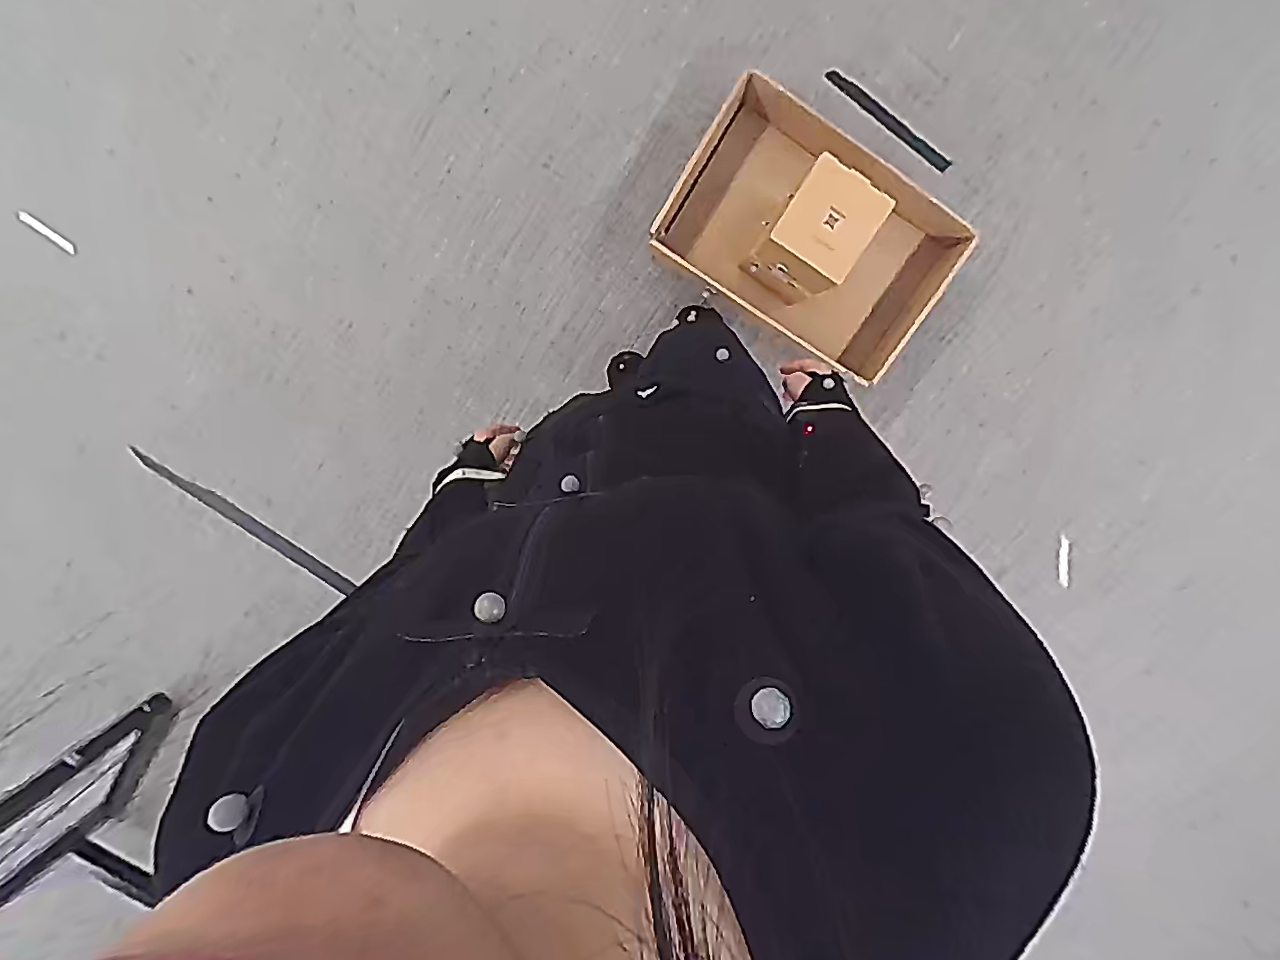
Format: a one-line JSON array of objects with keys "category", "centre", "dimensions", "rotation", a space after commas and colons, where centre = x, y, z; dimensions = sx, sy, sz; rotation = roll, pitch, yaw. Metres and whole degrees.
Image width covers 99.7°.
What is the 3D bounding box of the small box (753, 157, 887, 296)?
[{"category": "small box", "centre": [0.346, -0.494, 1.085], "dimensions": [0.168, 0.176, 0.179], "rotation": [32, 101, -6]}]
